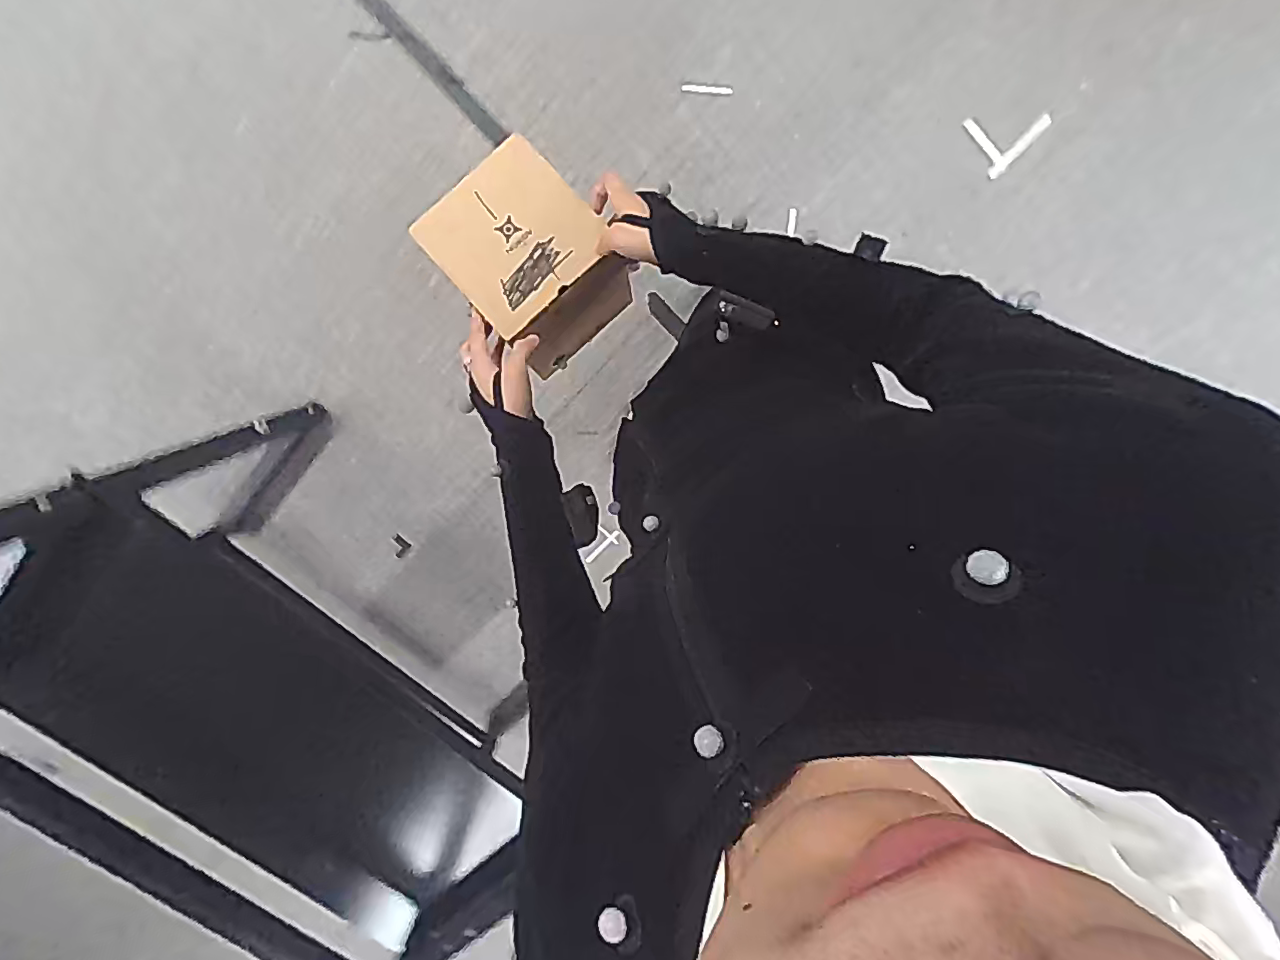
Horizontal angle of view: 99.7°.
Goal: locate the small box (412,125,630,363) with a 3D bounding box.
[{"bbox_3d":[-0.127,-0.264,0.656,0.168,0.176,0.179,-42,85,-1],"label":"small box"}]
